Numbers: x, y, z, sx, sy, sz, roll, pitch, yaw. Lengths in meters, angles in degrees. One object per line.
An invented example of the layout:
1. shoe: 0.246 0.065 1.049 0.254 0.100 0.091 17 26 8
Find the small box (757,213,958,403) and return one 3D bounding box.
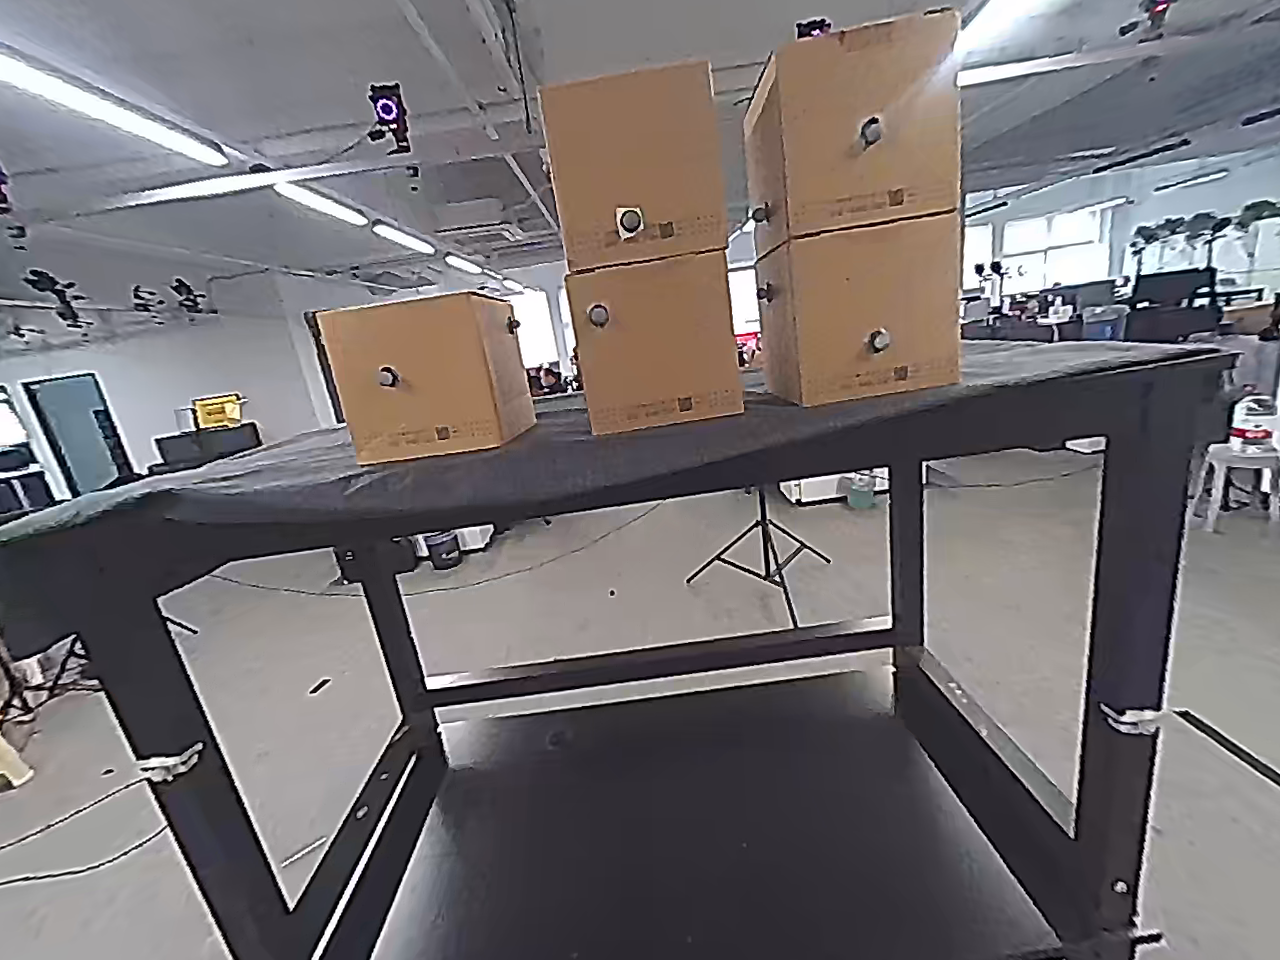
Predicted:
1. small box: 0.237 -0.186 0.623 0.168 0.176 0.179 -9 14 3

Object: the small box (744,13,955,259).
1. small box: 0.214 -0.344 0.582 0.168 0.176 0.179 -7 15 3

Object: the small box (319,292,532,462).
1. small box: -0.239 -0.121 0.655 0.168 0.176 0.179 -7 14 4

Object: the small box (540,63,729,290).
1. small box: -0.003 -0.313 0.601 0.168 0.176 0.179 -10 14 1
